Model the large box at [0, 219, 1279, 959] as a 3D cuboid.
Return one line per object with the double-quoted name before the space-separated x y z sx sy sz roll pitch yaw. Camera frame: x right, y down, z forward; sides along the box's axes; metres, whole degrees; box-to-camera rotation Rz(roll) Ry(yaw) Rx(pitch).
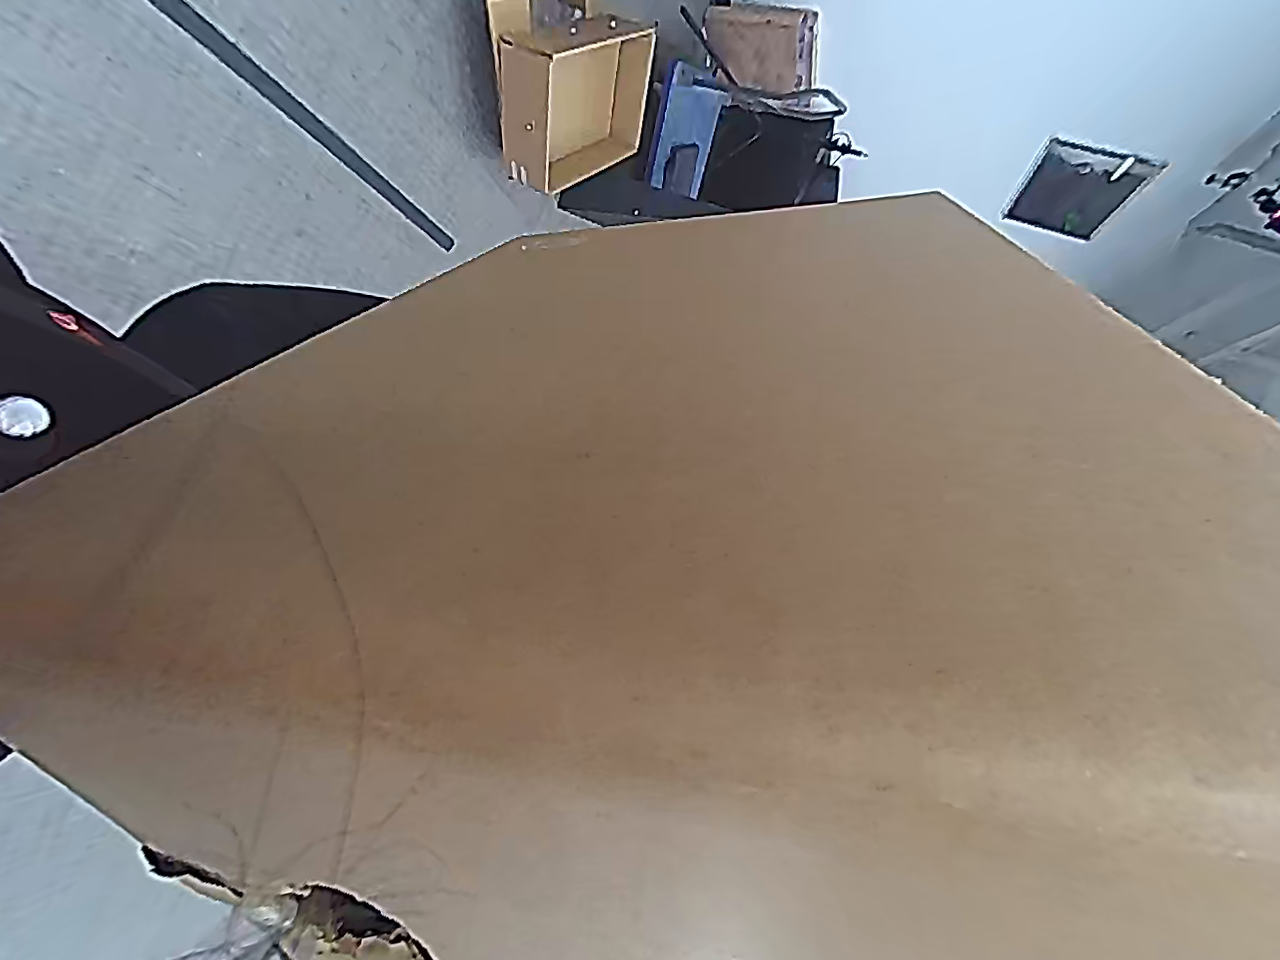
"large box" 0.024 0.046 0.338 0.408 0.320 0.320 -66 155 -53
